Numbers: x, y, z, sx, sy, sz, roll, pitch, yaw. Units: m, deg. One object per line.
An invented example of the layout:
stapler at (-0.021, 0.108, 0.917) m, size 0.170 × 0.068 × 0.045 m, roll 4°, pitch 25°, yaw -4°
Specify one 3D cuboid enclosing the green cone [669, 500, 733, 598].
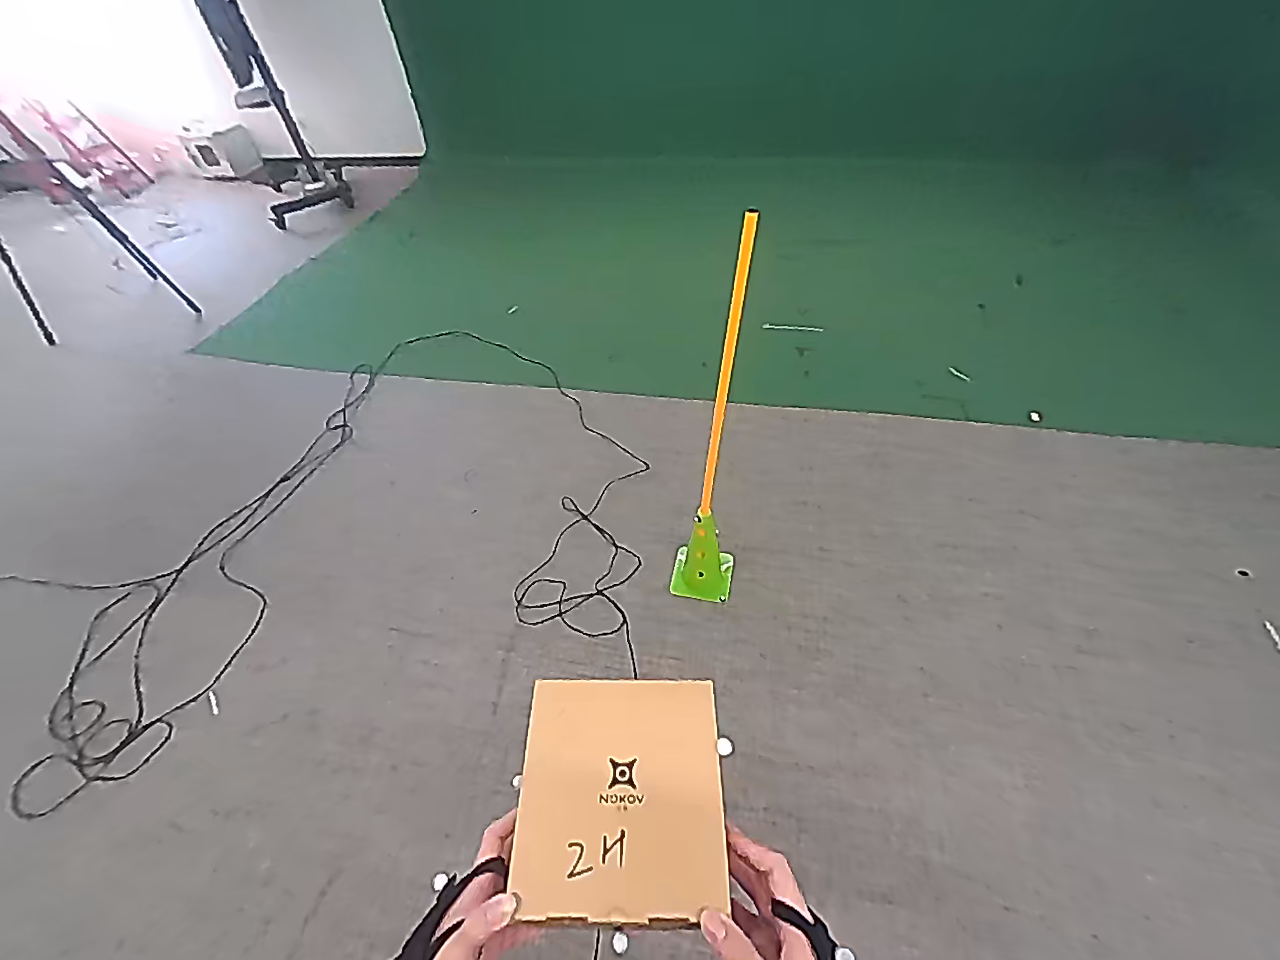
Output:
green cone at (0.198, 0.193, 1.742) m, size 0.202 × 0.368 × 0.200 m, roll 7°, pitch 48°, yaw 12°
